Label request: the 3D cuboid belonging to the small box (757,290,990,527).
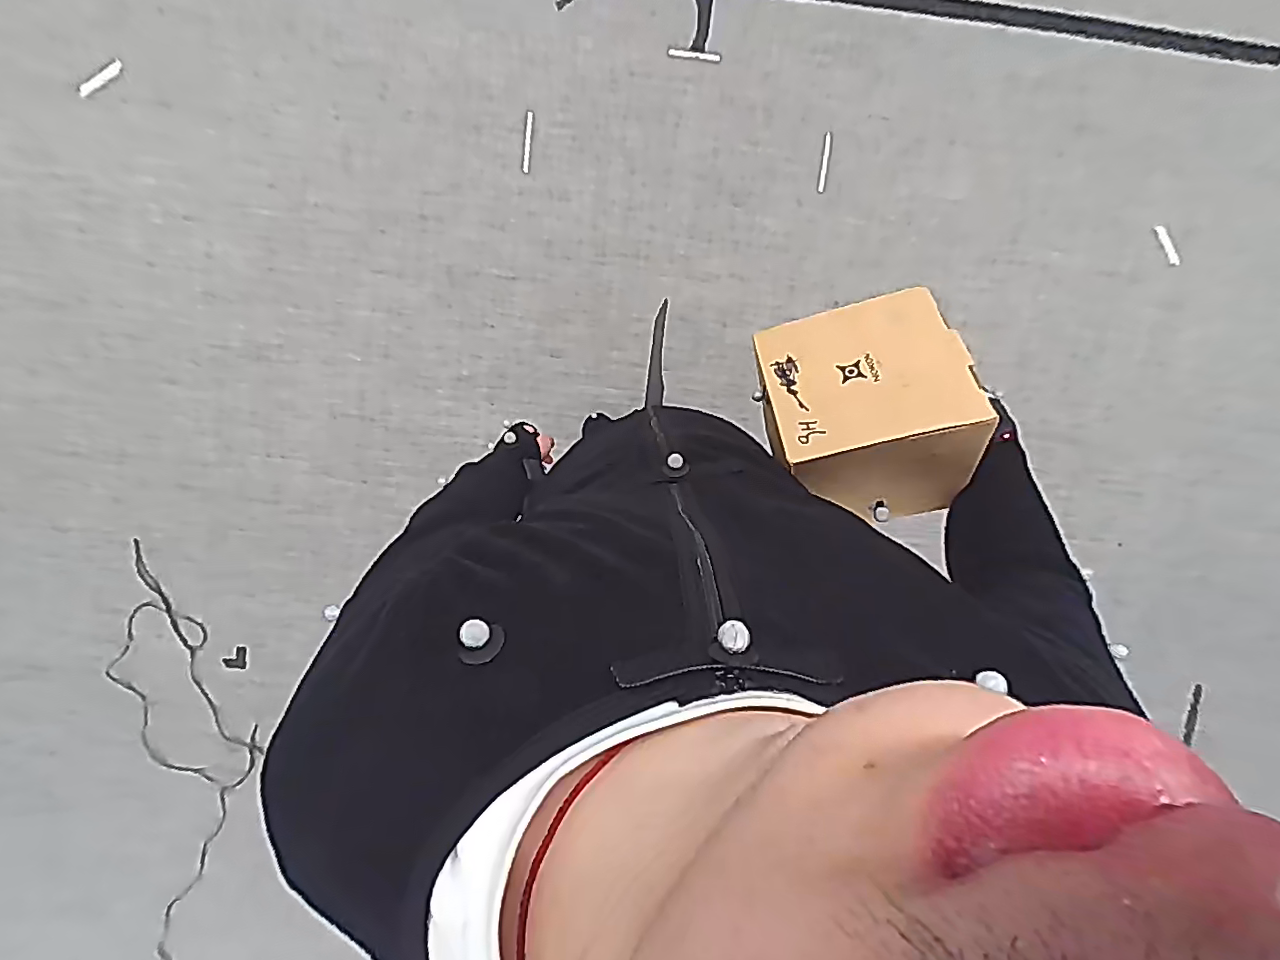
[{"bbox_3d":[0.234,-0.067,0.586,0.179,0.176,0.168,-13,57,11],"label":"small box"}]
